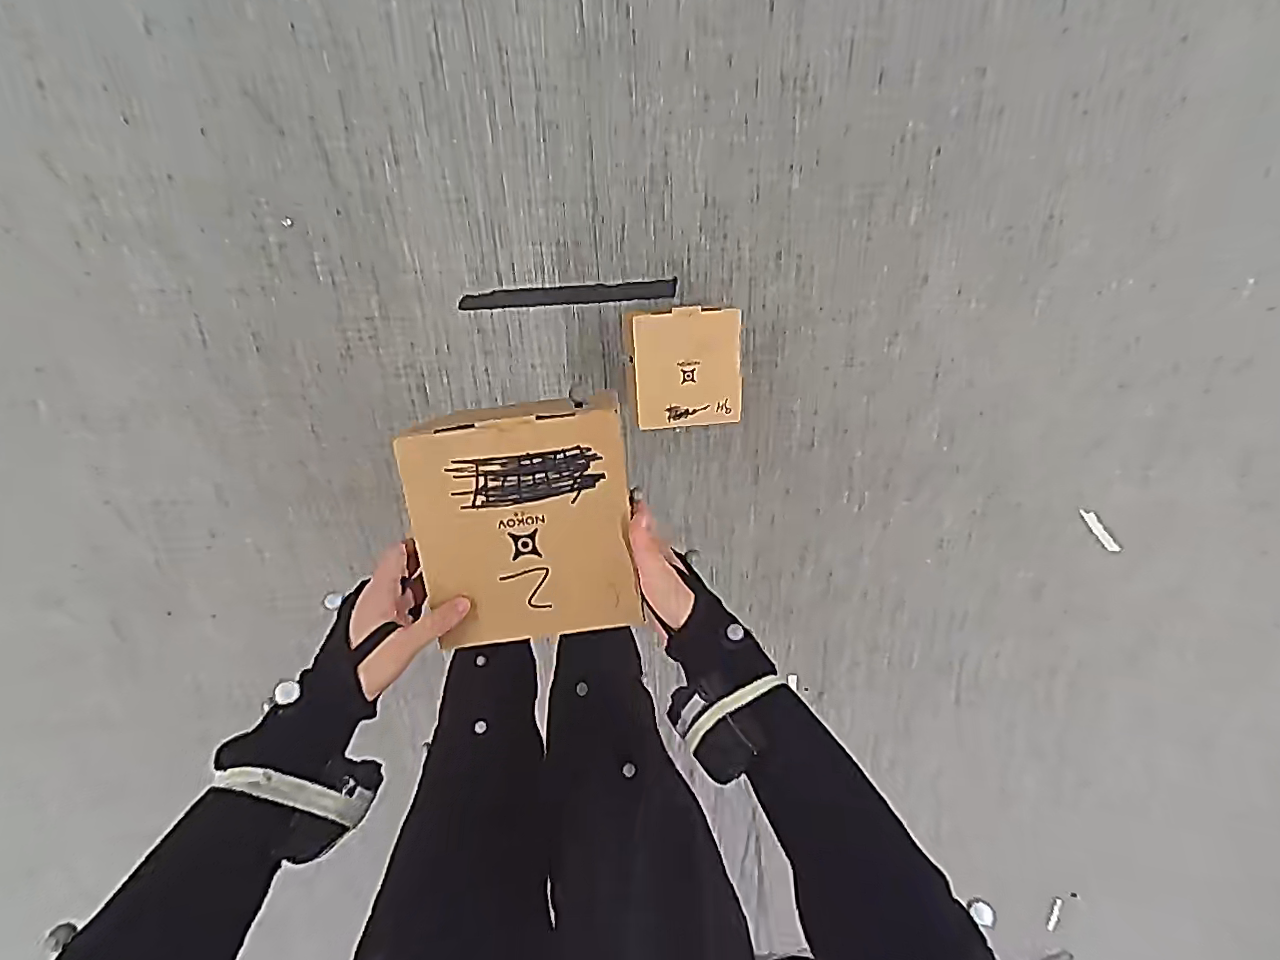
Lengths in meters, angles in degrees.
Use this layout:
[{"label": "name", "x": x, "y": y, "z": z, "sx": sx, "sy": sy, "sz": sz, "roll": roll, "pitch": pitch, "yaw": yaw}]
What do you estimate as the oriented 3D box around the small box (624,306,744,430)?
[{"label": "small box", "x": 0.067, "y": -0.190, "z": 0.891, "sx": 0.168, "sy": 0.176, "sz": 0.179, "roll": -6, "pitch": 109, "yaw": -6}]
